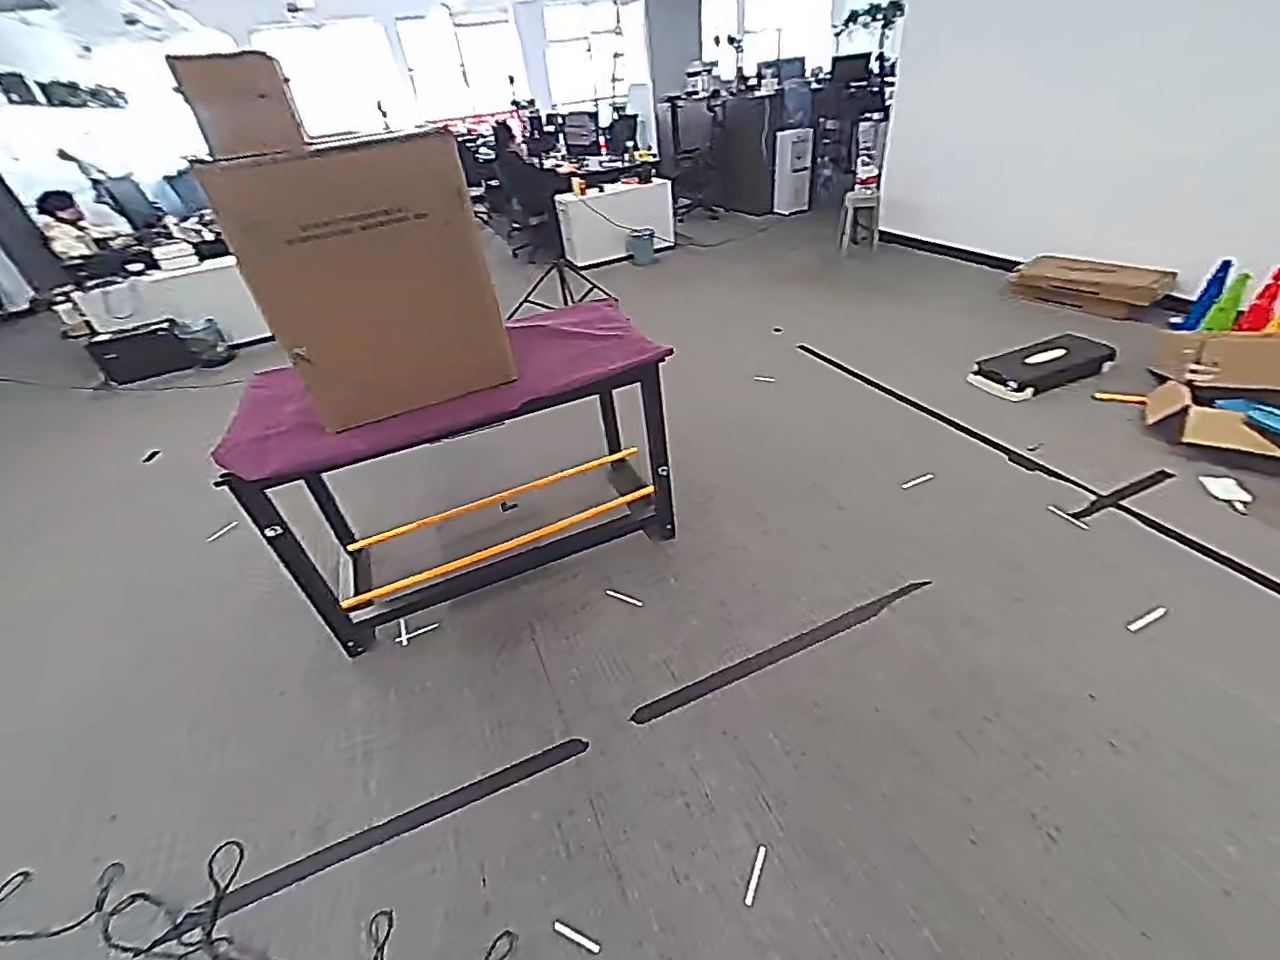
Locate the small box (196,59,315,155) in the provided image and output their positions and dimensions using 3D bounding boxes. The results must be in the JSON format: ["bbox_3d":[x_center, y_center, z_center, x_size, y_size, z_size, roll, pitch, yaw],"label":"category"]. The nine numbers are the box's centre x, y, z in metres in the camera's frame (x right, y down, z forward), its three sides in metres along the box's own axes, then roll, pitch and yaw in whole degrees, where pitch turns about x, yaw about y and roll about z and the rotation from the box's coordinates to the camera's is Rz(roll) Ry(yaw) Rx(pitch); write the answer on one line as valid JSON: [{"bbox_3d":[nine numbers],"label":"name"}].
[{"bbox_3d":[-0.897,-0.878,1.282,0.168,0.176,0.179,-17,37,-15],"label":"small box"}]
